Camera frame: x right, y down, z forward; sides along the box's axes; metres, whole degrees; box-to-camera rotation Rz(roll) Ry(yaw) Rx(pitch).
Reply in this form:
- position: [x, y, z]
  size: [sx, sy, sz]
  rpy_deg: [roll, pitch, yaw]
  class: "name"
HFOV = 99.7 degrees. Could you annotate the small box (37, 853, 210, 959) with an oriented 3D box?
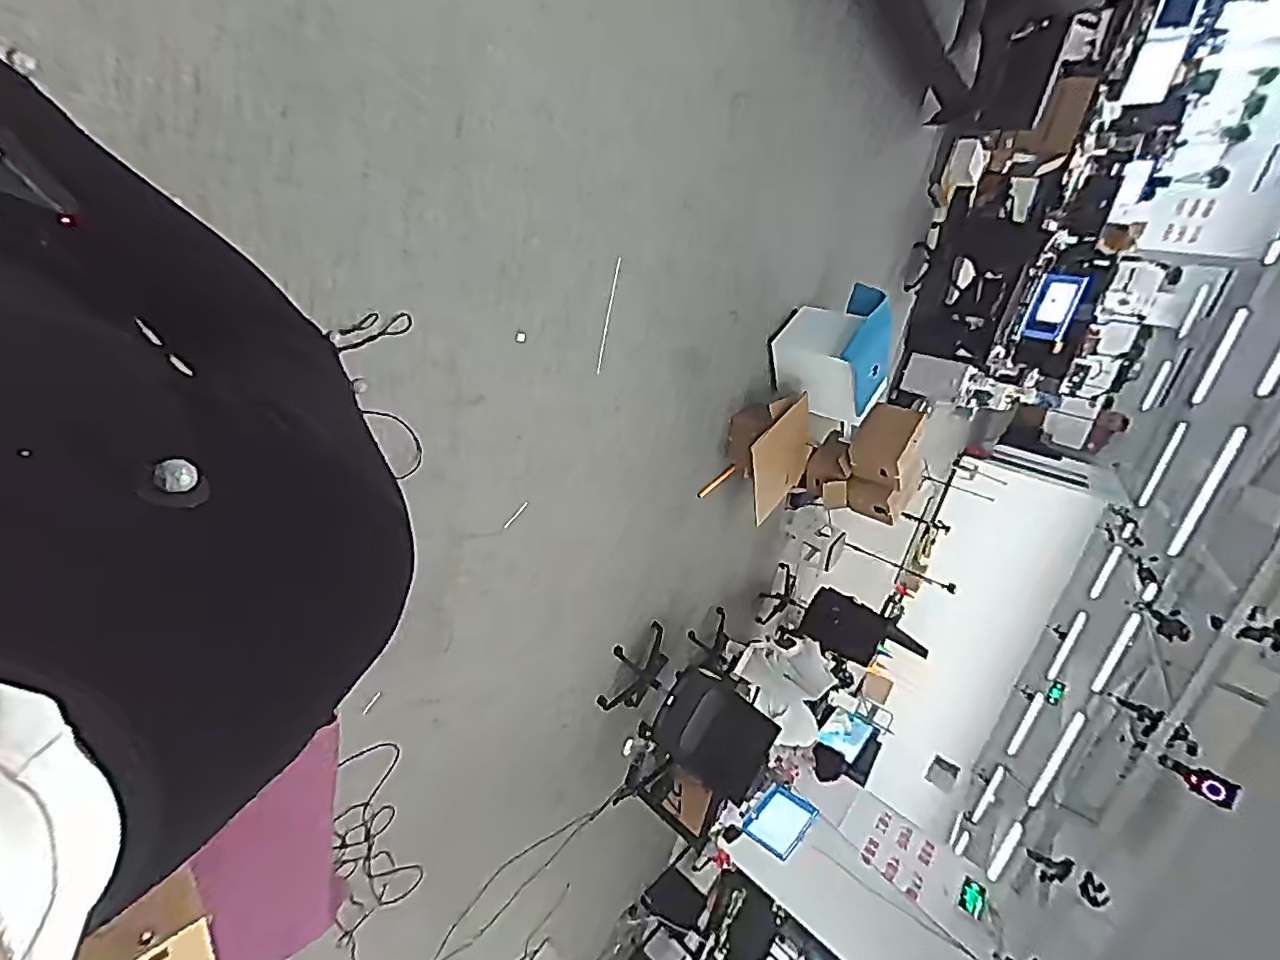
- position: [-0.800, 0.745, 0.848]
  size: [0.168, 0.176, 0.179]
  rpy_deg: [-17, 124, -48]
  class: "small box"
